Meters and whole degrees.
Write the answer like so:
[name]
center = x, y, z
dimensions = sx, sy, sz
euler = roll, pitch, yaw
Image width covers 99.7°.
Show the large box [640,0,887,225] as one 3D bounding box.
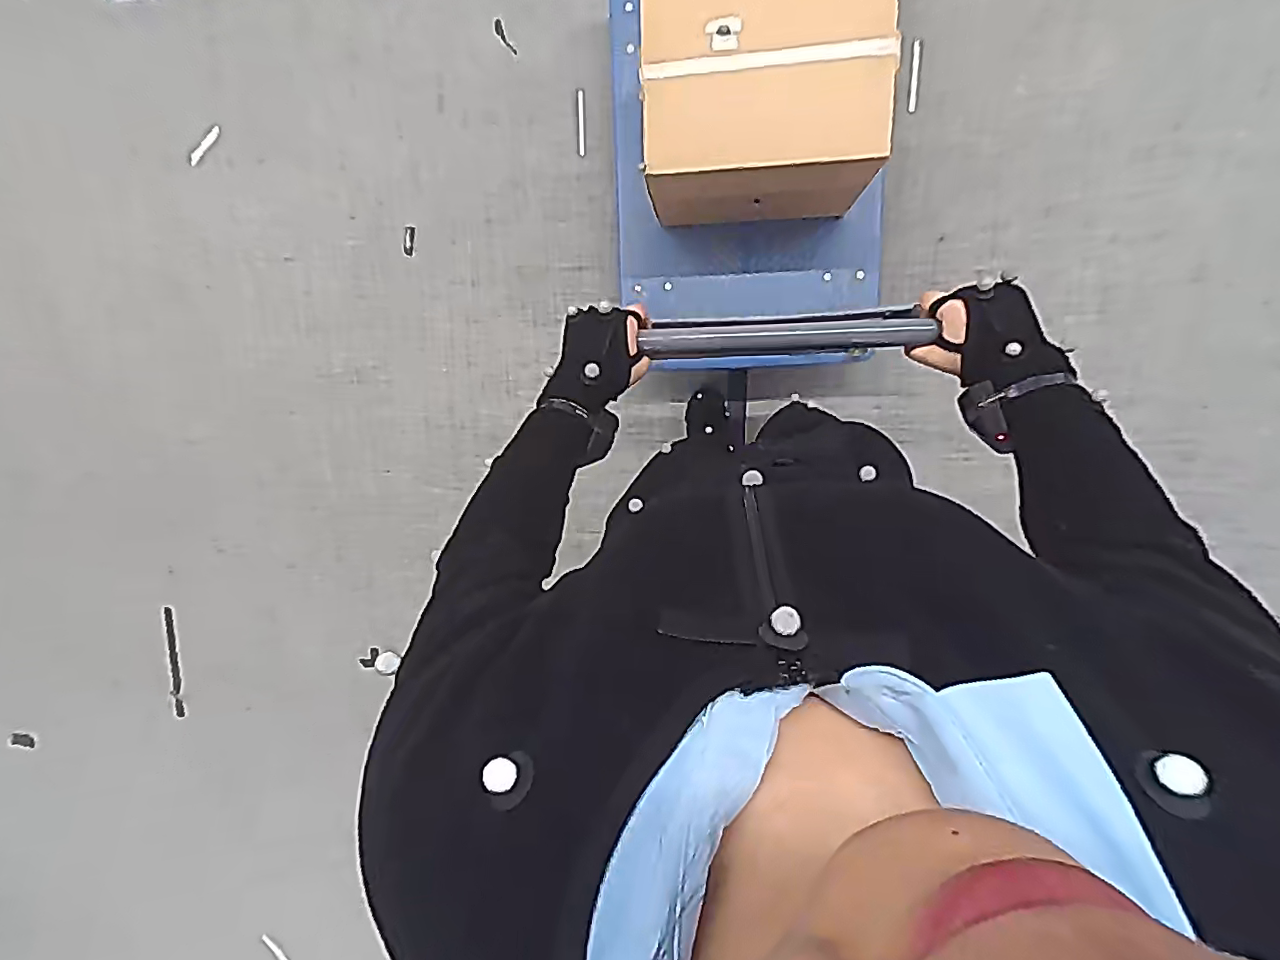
[large box]
center = 0.225, -0.709, 1.045
dimensions = 0.408, 0.320, 0.320
euler = 0, 99, 9
